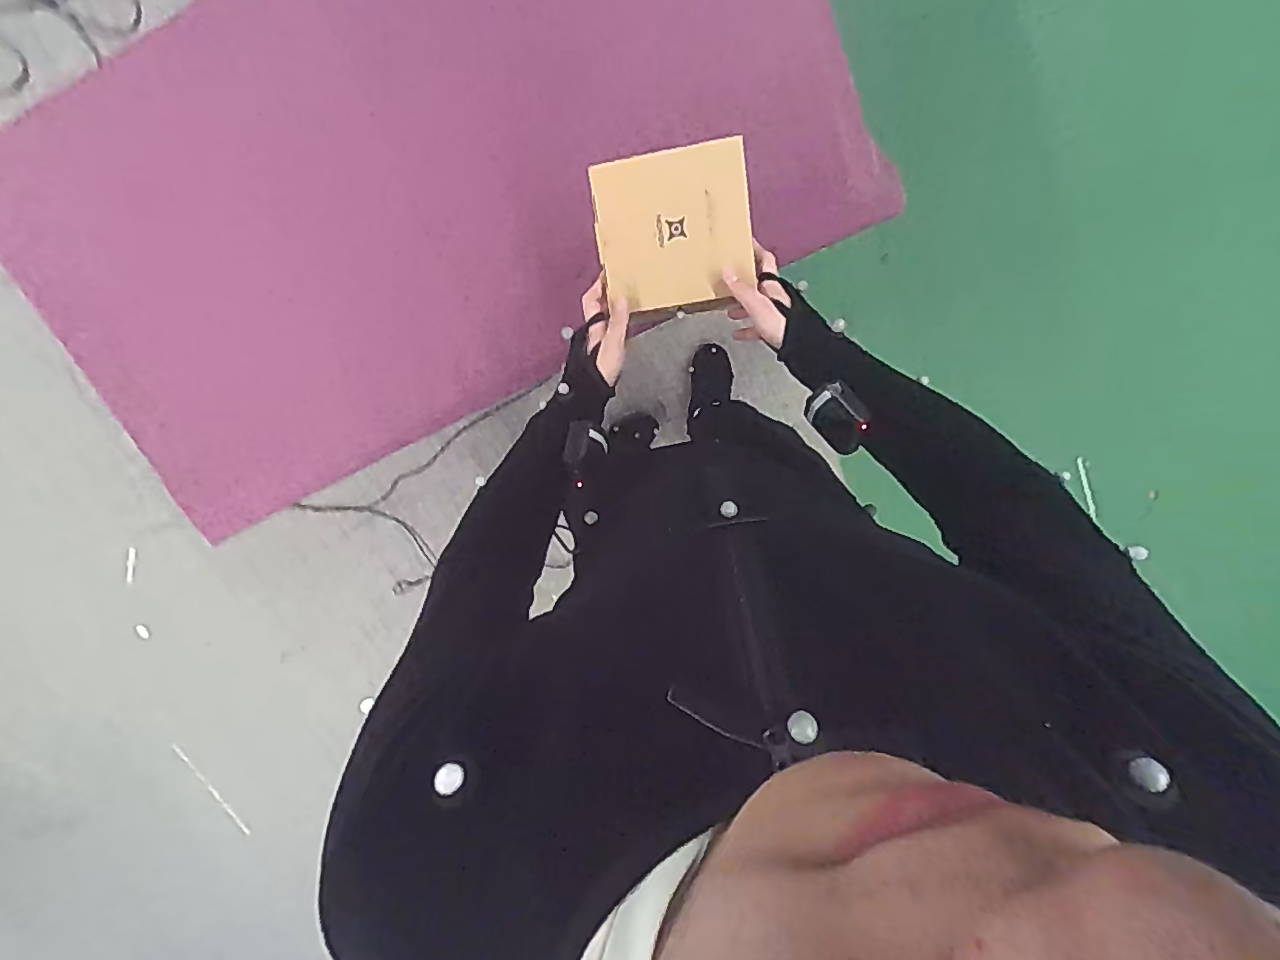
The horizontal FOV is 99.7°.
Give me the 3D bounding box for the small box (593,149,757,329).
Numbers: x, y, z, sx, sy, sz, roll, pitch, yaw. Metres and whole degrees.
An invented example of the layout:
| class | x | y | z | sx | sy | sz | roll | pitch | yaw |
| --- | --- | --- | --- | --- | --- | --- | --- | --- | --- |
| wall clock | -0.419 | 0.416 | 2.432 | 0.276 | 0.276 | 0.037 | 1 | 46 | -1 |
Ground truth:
| class | x | y | z | sx | sy | sz | roll | pitch | yaw |
| --- | --- | --- | --- | --- | --- | --- | --- | --- | --- |
| small box | 0.050 | -0.290 | 0.690 | 0.179 | 0.176 | 0.168 | -6 | 102 | 8 |
